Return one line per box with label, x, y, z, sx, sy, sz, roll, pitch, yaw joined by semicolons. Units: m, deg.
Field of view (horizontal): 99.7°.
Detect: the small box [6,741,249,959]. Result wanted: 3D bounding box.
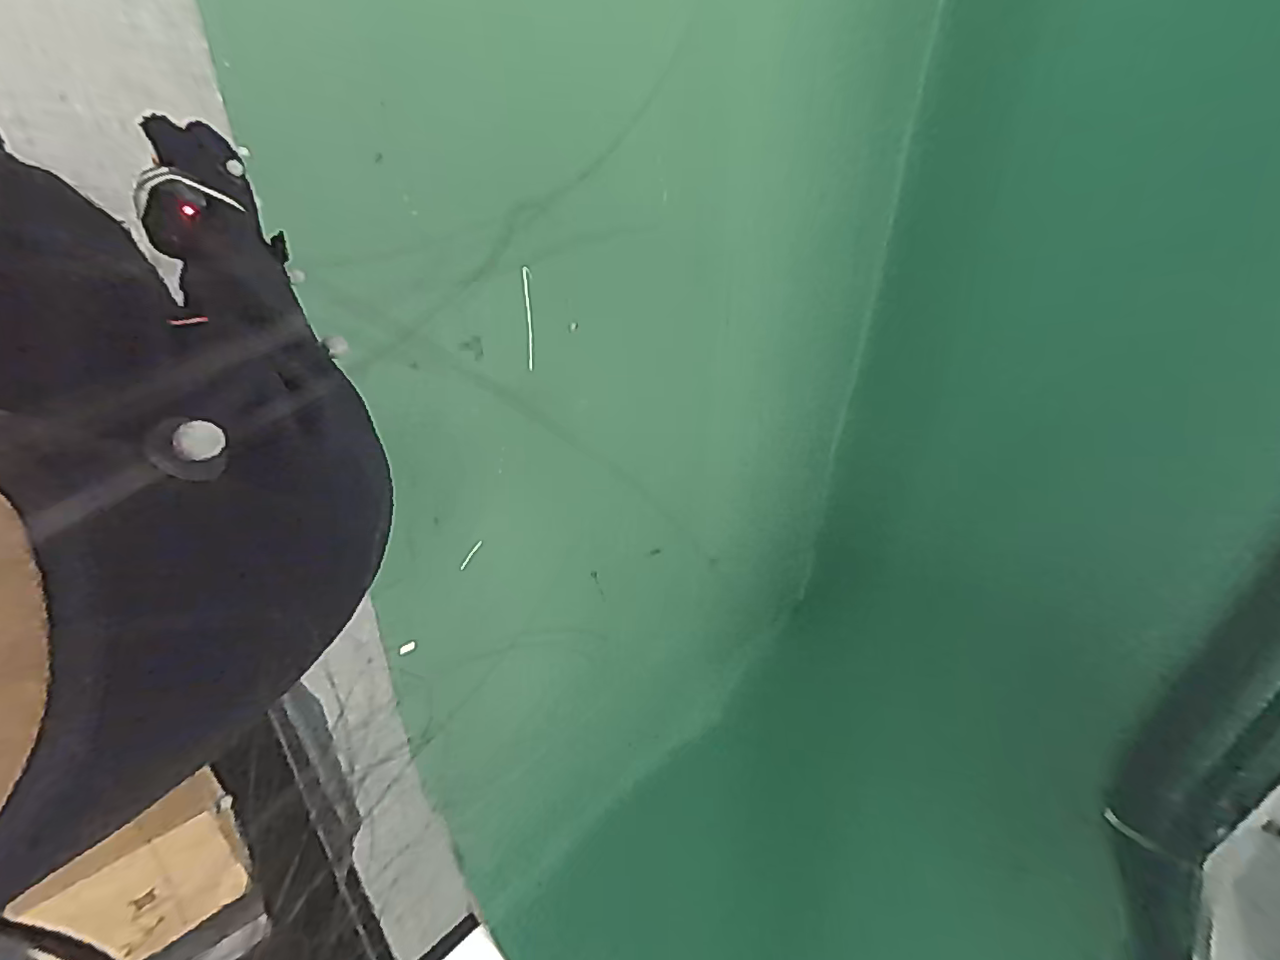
small box;-0.615;0.456;0.659;0.168;0.176;0.179;-22;127;-38
